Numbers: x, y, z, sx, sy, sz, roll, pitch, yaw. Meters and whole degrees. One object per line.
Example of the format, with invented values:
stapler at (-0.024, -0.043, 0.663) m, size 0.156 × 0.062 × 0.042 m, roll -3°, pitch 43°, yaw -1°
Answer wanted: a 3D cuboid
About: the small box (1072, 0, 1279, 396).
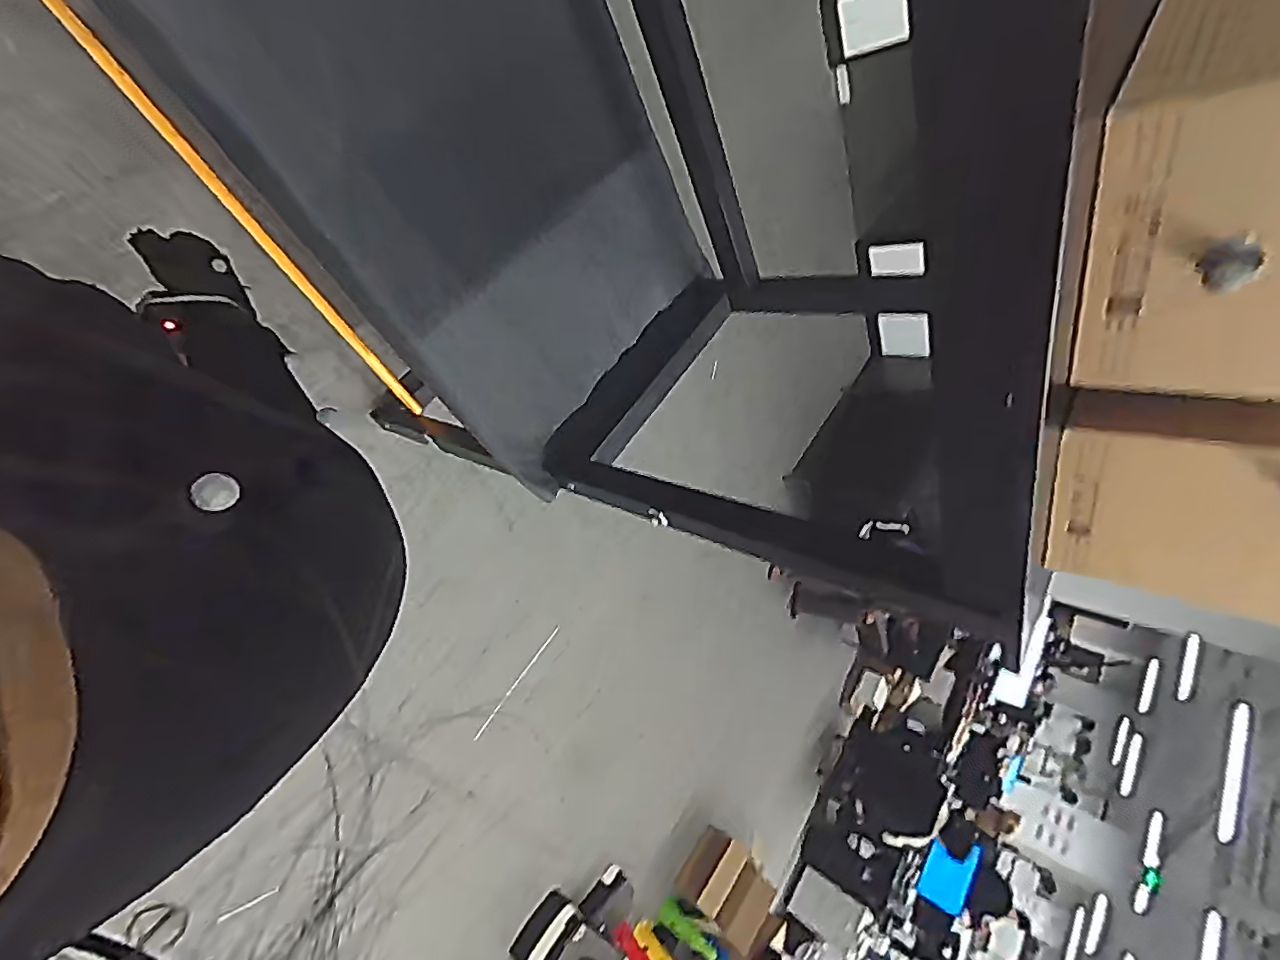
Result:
small box at (0.353, -0.159, 0.274) m, size 0.179 × 0.176 × 0.168 m, roll -53°, pitch 135°, yaw -22°
